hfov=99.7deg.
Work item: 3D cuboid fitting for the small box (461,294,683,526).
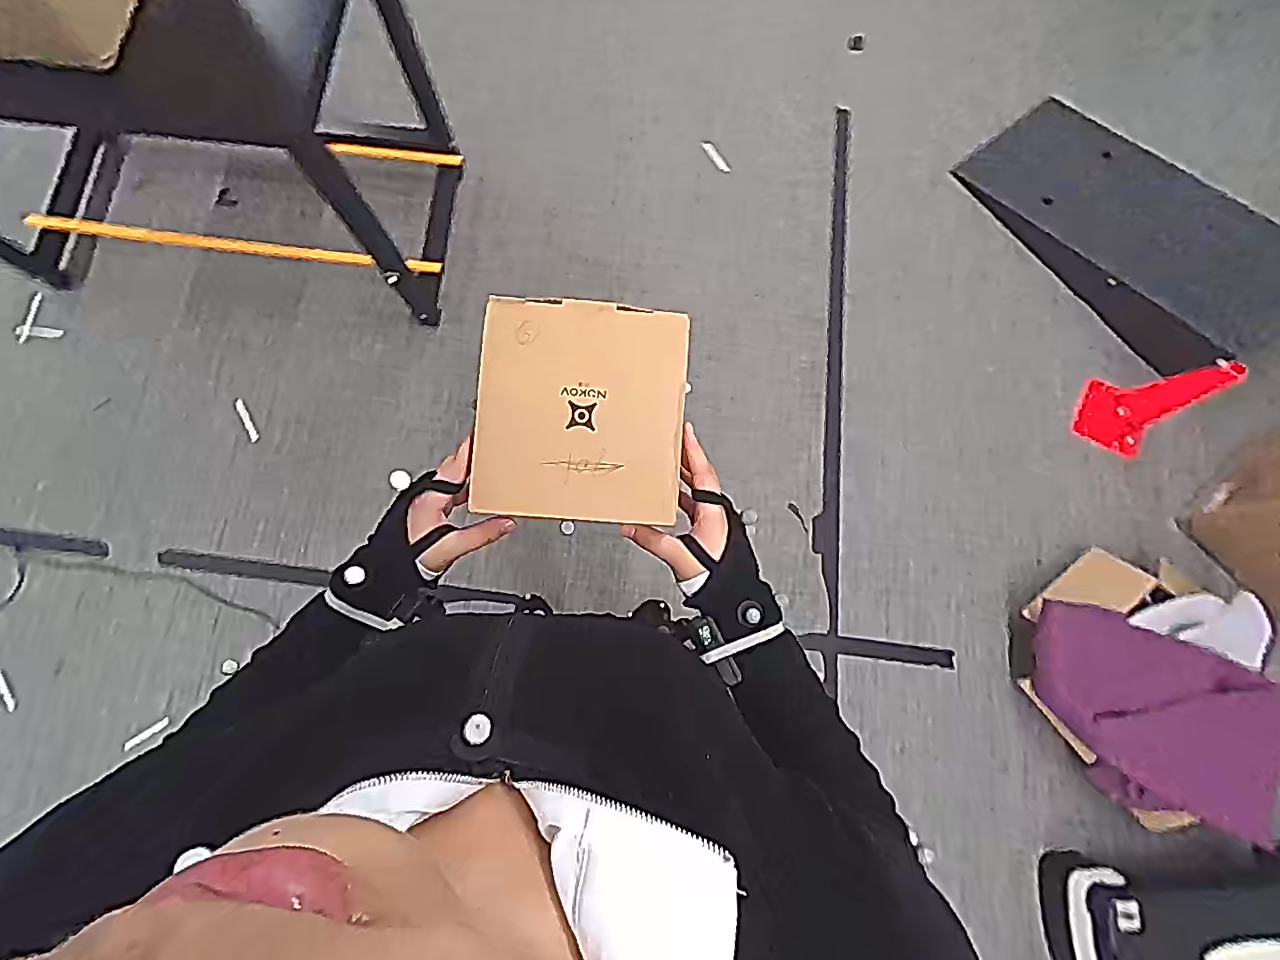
[{"bbox_3d":[-0.059,-0.051,0.507,0.168,0.176,0.179,4,87,-4],"label":"small box"}]
